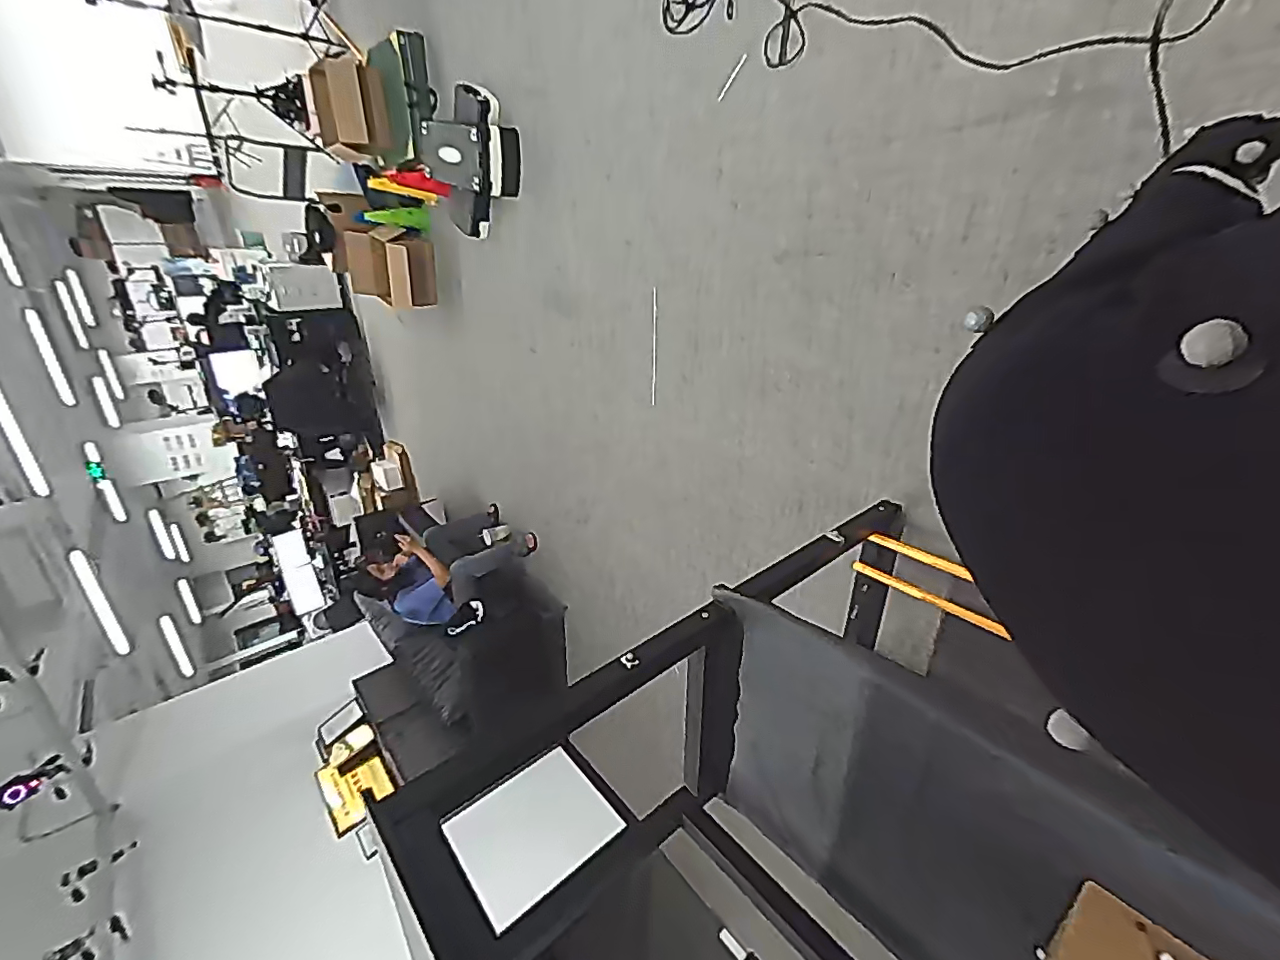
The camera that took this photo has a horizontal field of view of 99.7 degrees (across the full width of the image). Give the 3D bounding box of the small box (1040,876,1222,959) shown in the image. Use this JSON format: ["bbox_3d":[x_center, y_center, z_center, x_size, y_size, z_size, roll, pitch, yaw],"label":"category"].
[{"bbox_3d":[0.616,0.668,0.685,0.168,0.176,0.179,25,124,43],"label":"small box"}]
